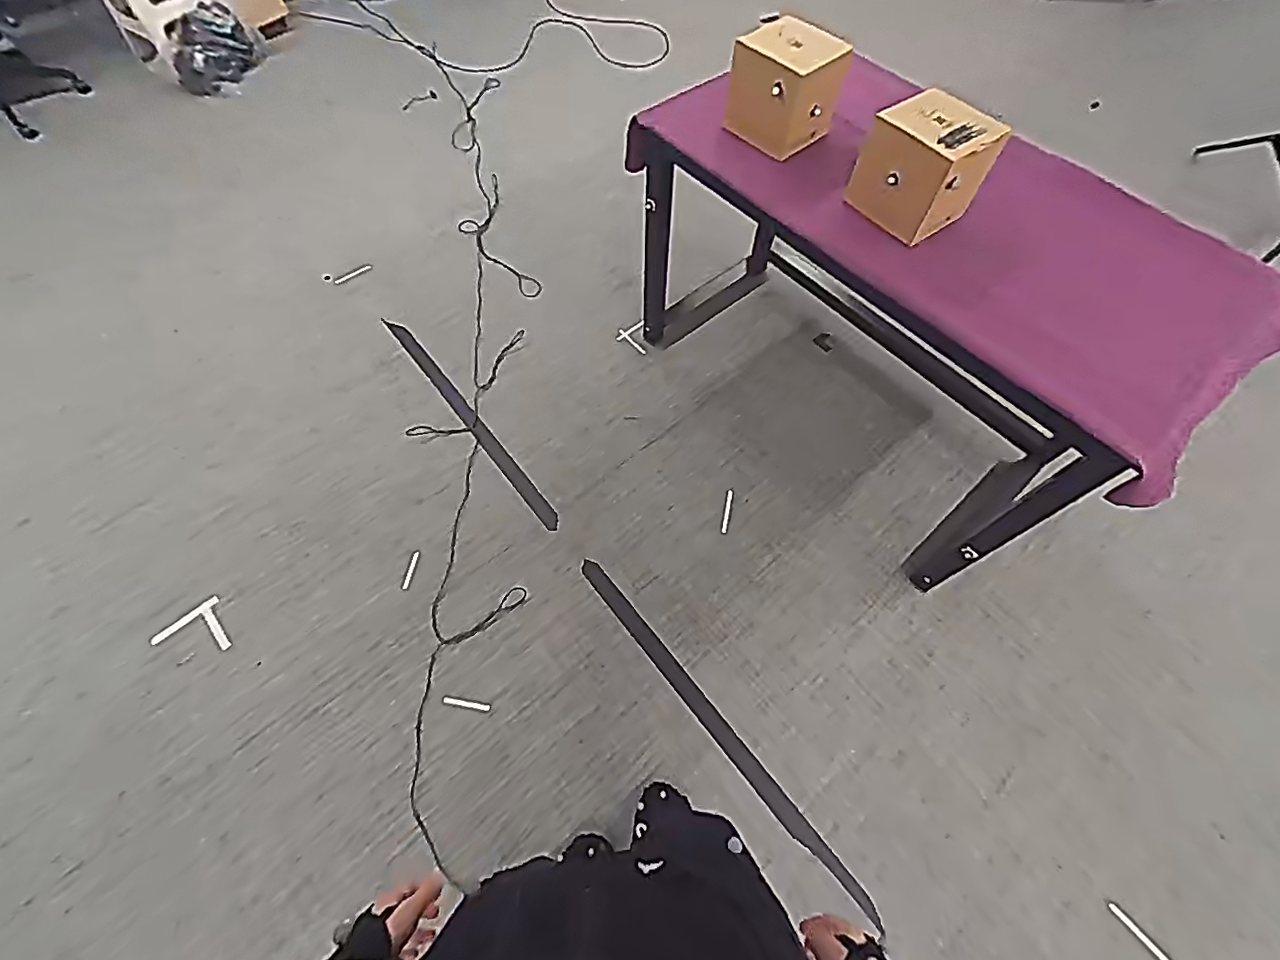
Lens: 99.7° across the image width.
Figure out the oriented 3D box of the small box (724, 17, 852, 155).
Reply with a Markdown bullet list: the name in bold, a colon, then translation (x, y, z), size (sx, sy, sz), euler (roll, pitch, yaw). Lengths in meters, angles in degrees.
- **small box**: translation (0.301, -0.820, 1.138), size (0.168, 0.176, 0.179), euler (-39, 69, -20)
